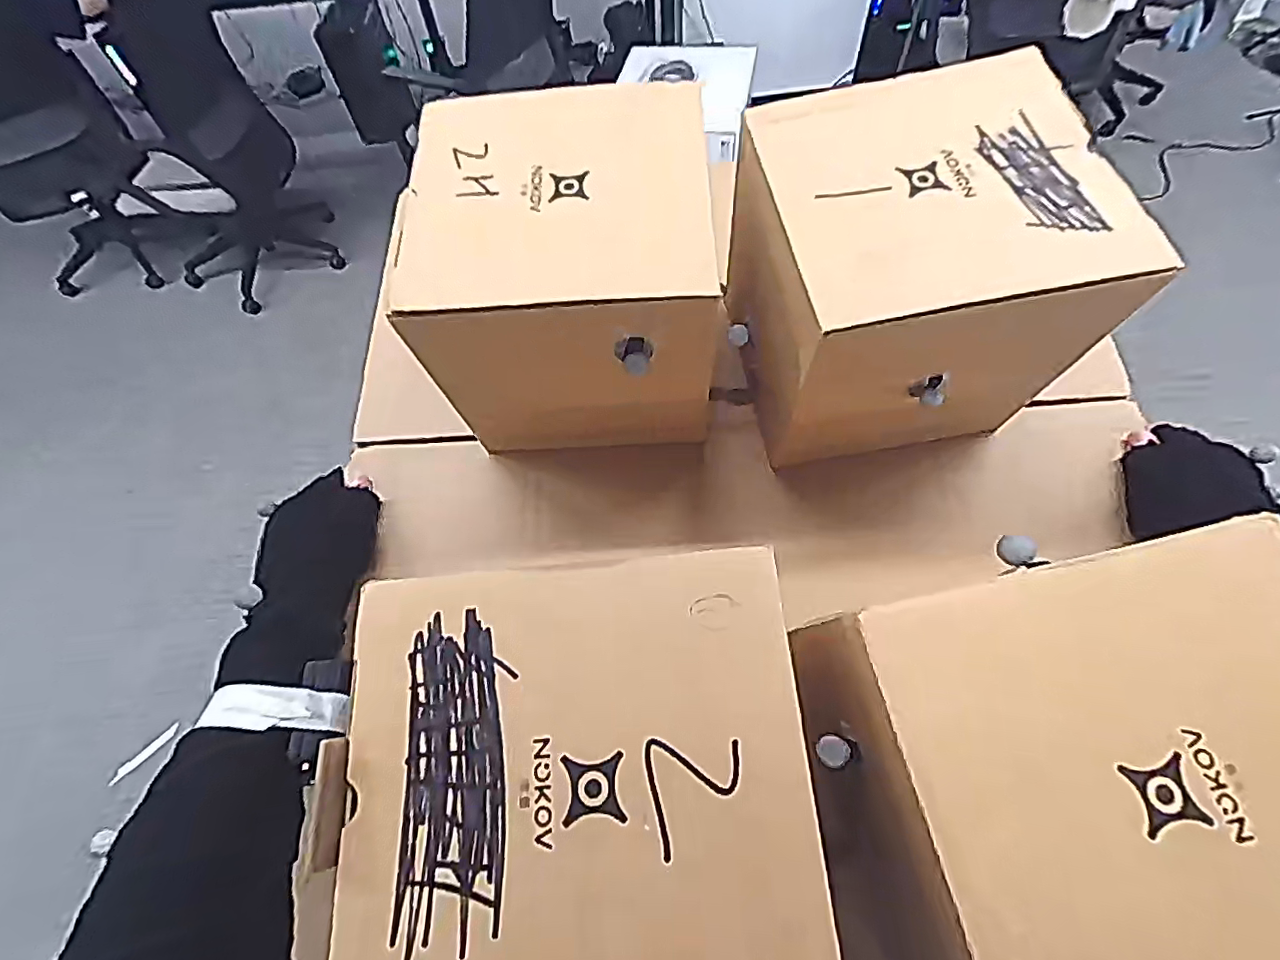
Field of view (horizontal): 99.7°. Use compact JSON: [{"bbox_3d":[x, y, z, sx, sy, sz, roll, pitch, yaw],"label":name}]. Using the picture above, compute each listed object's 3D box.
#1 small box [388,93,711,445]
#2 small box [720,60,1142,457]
[{"bbox_3d":[-0.045,-0.135,0.390,0.179,0.176,0.168,-2,67,4],"label":"small box"},{"bbox_3d":[0.159,-0.133,0.371,0.179,0.176,0.168,-11,68,2],"label":"small box"}]
